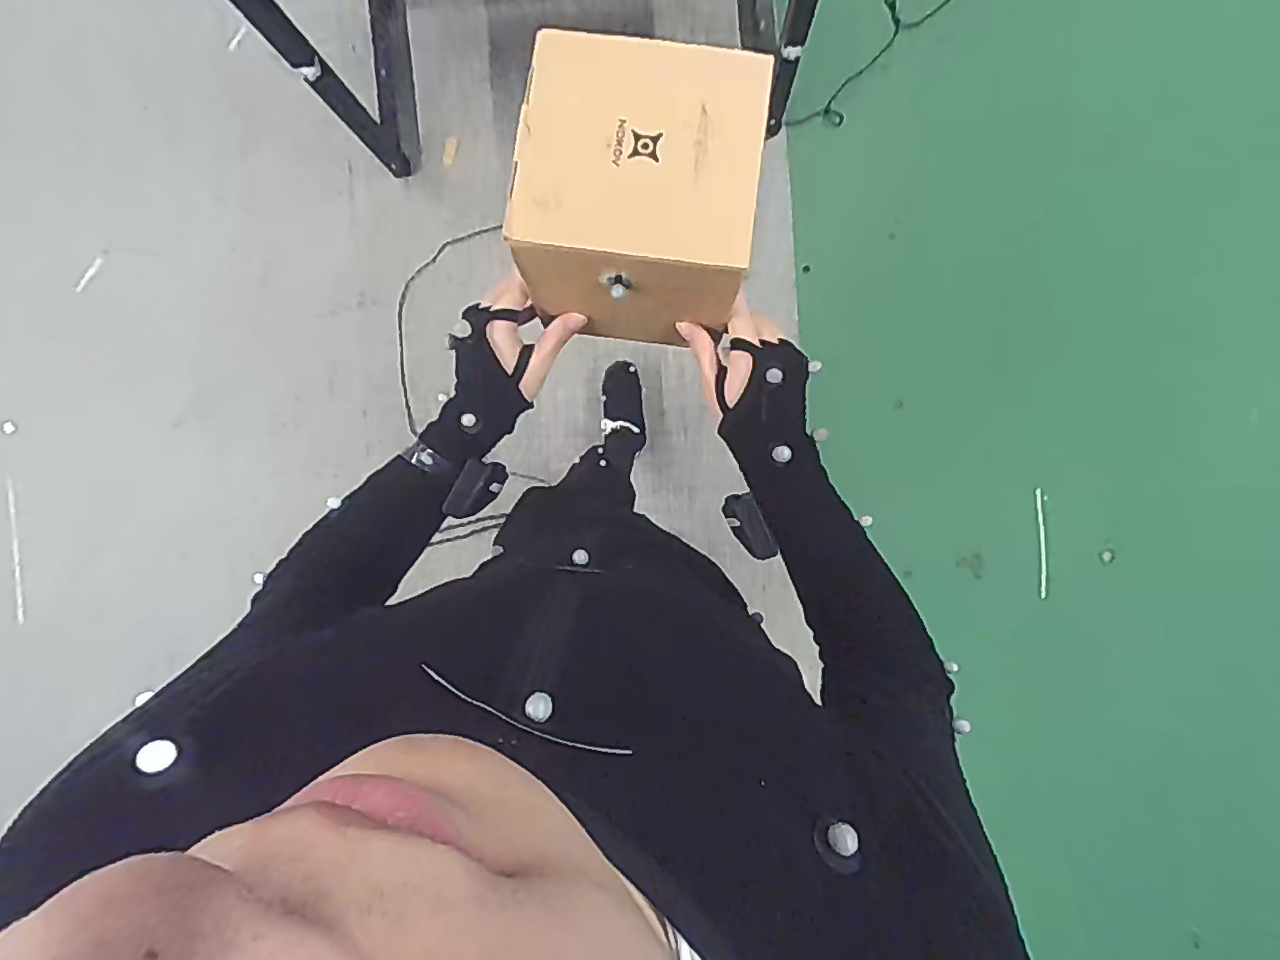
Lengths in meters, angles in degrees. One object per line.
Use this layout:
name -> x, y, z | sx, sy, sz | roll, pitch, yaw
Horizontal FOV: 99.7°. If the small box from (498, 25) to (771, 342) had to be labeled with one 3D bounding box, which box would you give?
small box -> -0.001, -0.231, 0.462 | 0.179, 0.176, 0.168 | 8, 84, 1
